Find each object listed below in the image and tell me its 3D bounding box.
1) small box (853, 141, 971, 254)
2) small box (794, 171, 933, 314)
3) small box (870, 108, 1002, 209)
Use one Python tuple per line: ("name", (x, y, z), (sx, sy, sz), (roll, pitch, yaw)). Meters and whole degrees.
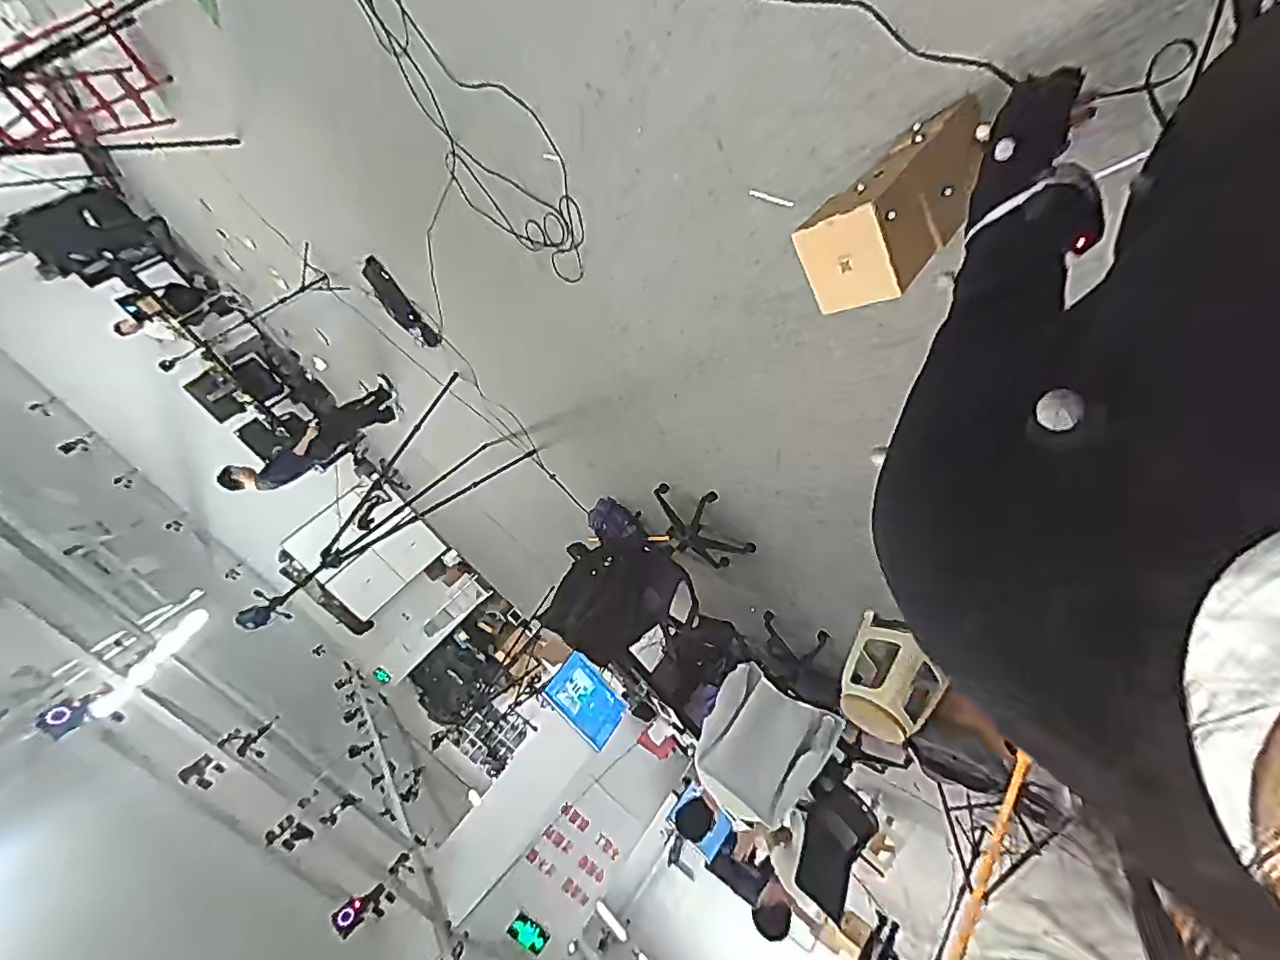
("small box", (0.541, -0.556, 1.106), (0.168, 0.176, 0.179), (-3, 129, 56))
("small box", (0.436, -0.451, 1.040), (0.168, 0.176, 0.179), (3, 132, 53))
("small box", (0.644, -0.668, 1.175), (0.179, 0.176, 0.168), (54, 155, -17))
